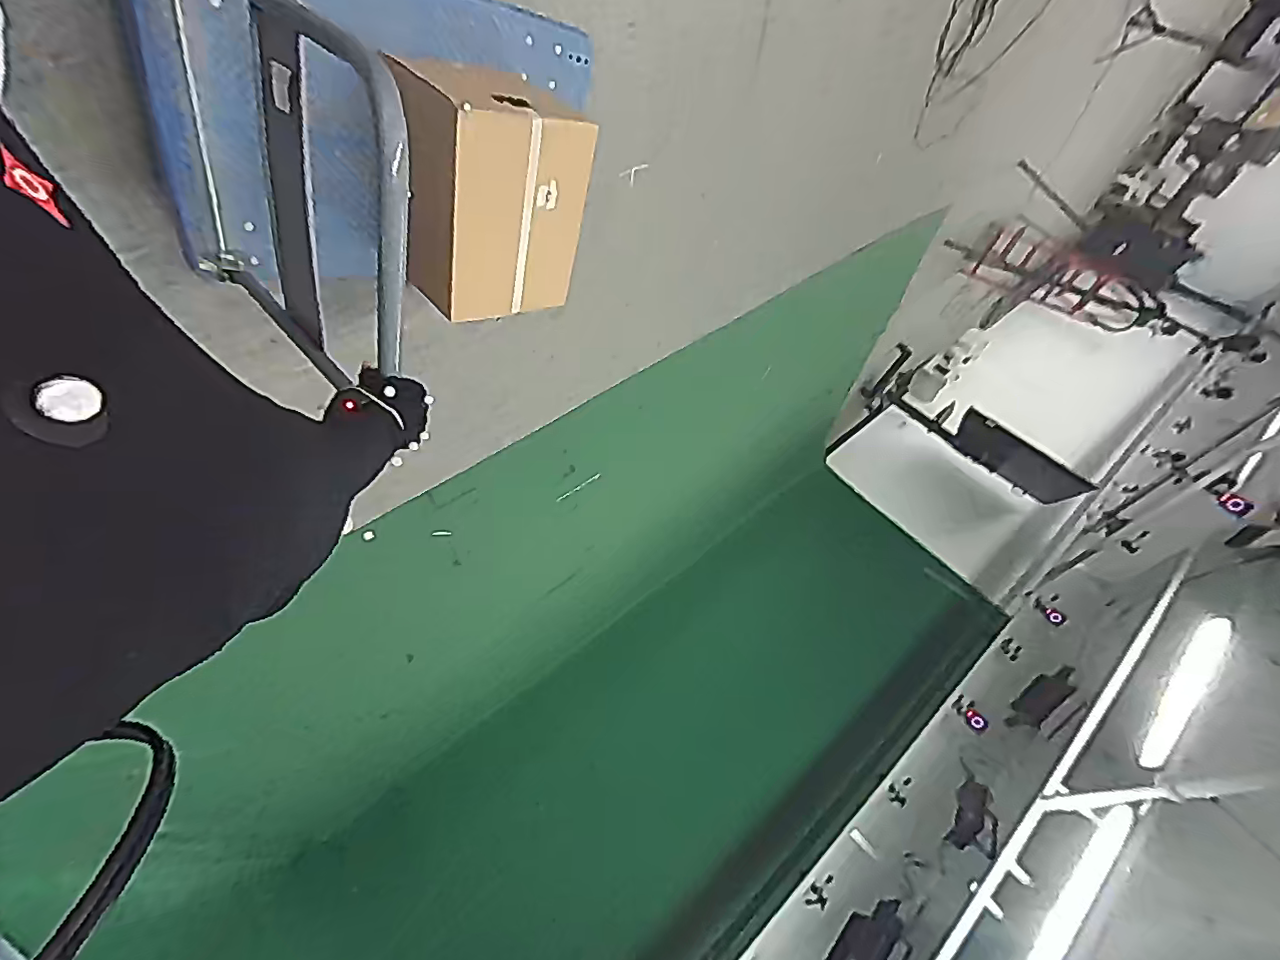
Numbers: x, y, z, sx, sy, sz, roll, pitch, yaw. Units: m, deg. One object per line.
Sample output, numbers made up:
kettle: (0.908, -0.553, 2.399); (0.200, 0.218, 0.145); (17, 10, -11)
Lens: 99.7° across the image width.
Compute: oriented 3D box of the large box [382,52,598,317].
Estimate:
large box: (-0.334, -0.632, 1.184); (0.320, 0.320, 0.408); (-25, 148, -38)
